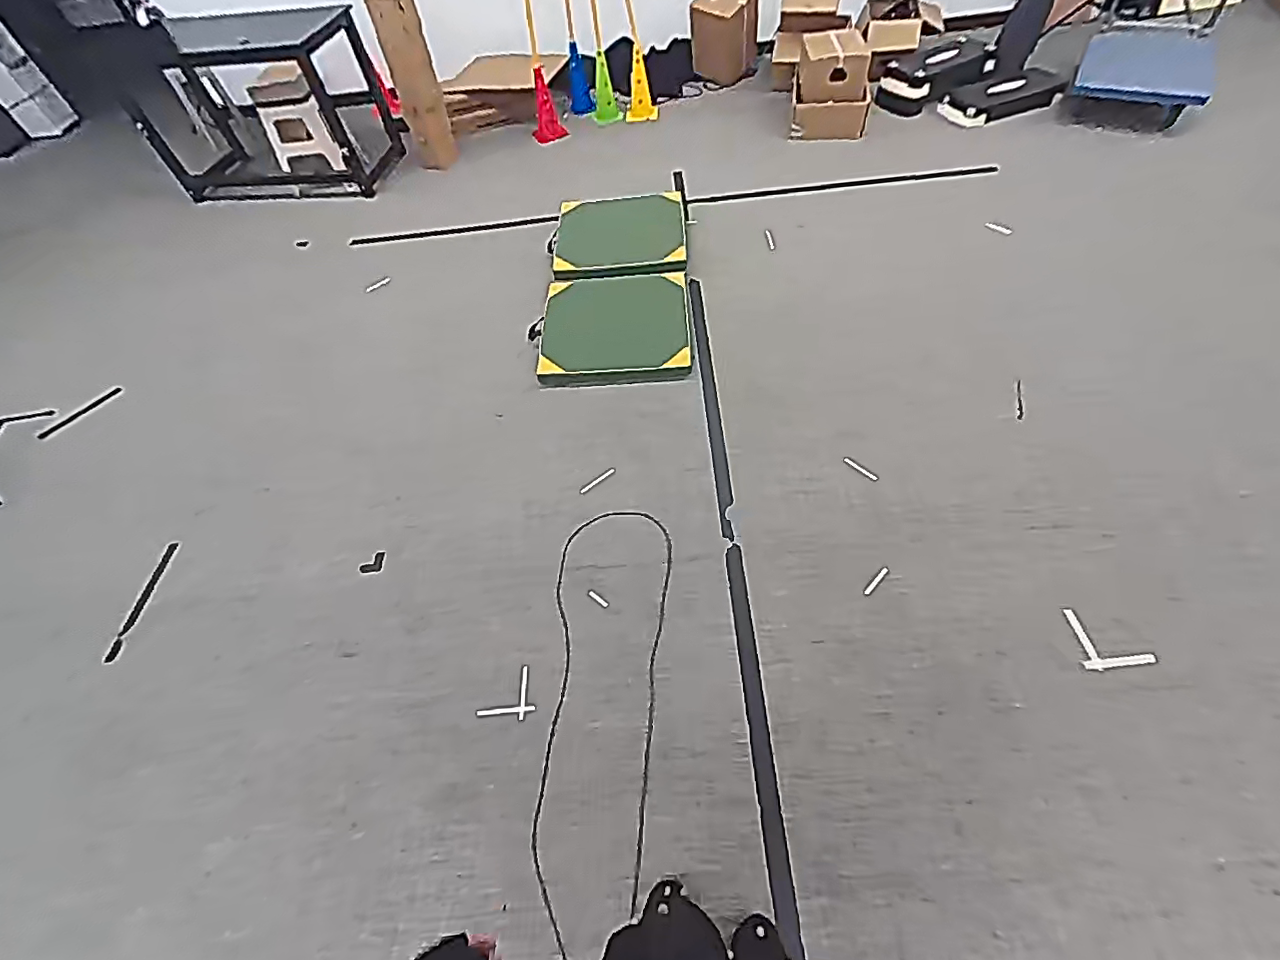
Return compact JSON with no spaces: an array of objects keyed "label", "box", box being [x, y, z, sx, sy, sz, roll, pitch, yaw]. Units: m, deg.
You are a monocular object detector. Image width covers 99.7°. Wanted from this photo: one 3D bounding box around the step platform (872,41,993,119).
[{"label":"step platform","box":[1.736,-2.382,3.209,0.684,0.204,0.286,-29,57,-13]}]
